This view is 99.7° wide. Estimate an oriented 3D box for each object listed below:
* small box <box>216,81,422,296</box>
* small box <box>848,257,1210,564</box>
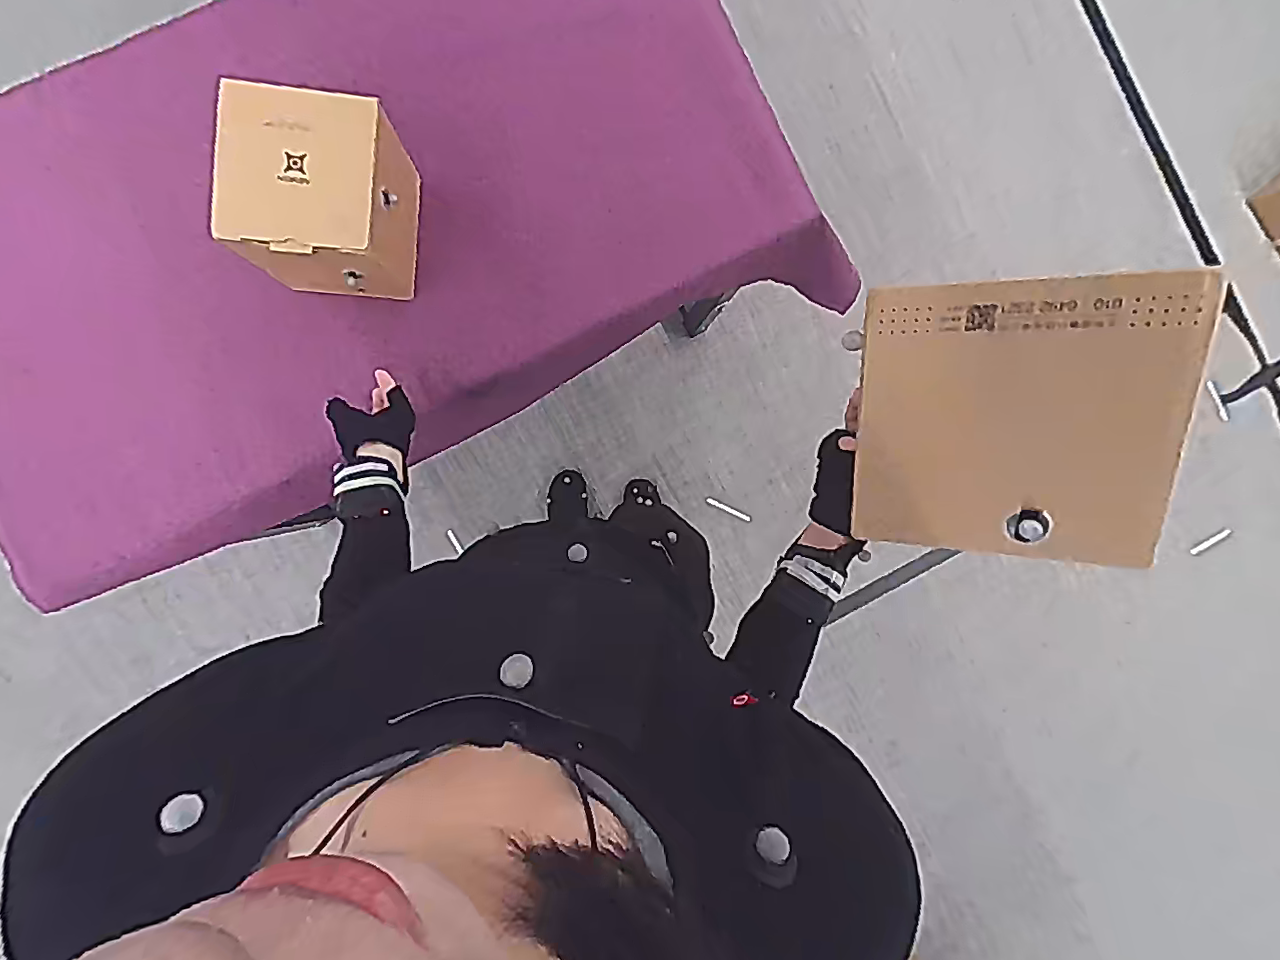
[{"bbox_3d":[-0.384,-0.345,0.677,0.168,0.176,0.179,3,89,-6],"label":"small box"},{"bbox_3d":[0.246,-0.063,0.386,0.168,0.179,0.176,4,110,24],"label":"small box"}]
